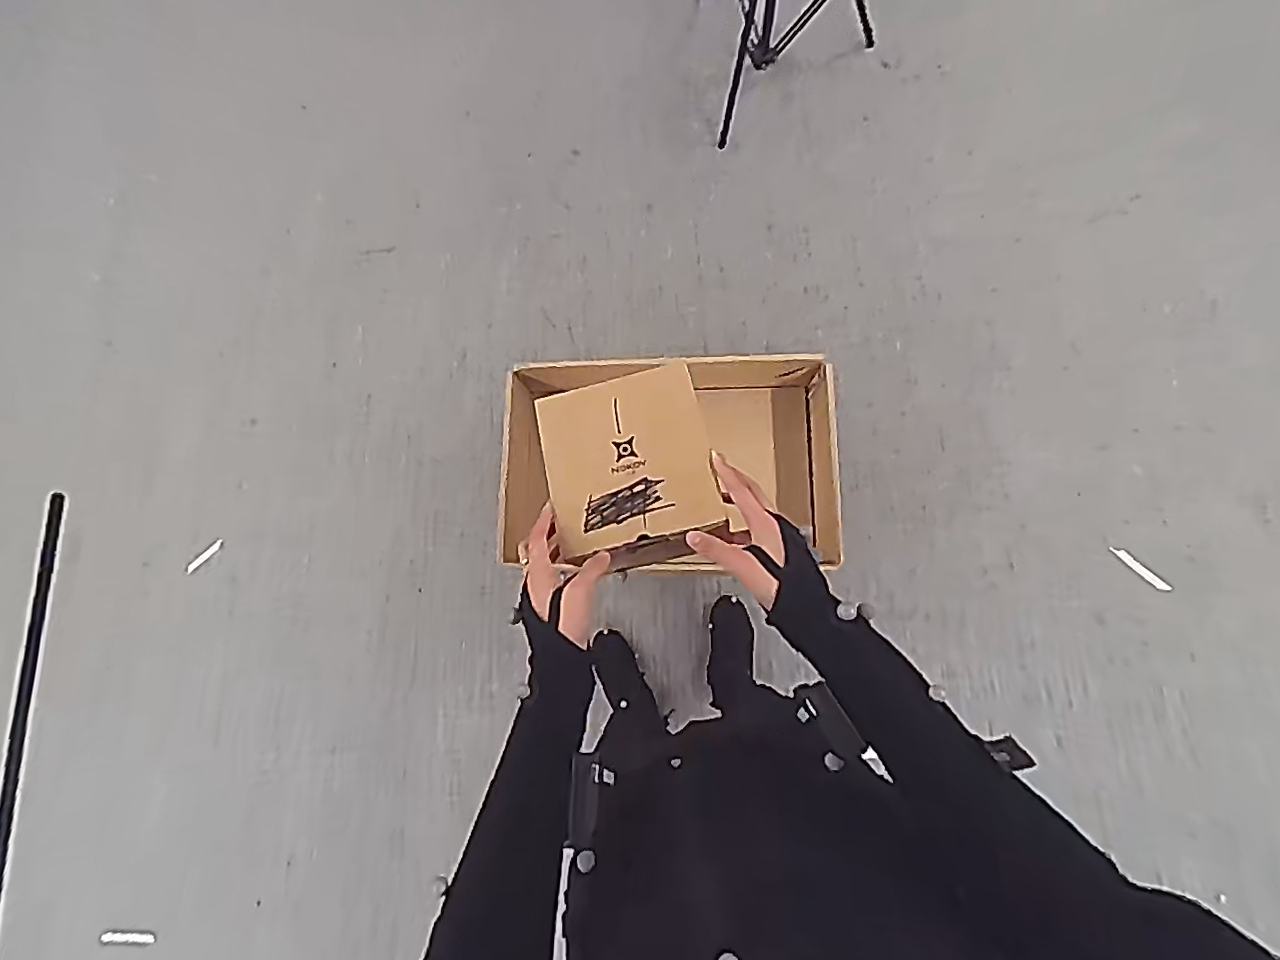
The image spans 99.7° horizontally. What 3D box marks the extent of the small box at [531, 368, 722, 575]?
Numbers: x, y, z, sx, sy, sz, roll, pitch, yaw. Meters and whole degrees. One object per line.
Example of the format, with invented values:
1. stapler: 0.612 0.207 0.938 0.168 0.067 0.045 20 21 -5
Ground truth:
1. small box: -0.006 0.005 0.611 0.168 0.176 0.179 -15 73 4
